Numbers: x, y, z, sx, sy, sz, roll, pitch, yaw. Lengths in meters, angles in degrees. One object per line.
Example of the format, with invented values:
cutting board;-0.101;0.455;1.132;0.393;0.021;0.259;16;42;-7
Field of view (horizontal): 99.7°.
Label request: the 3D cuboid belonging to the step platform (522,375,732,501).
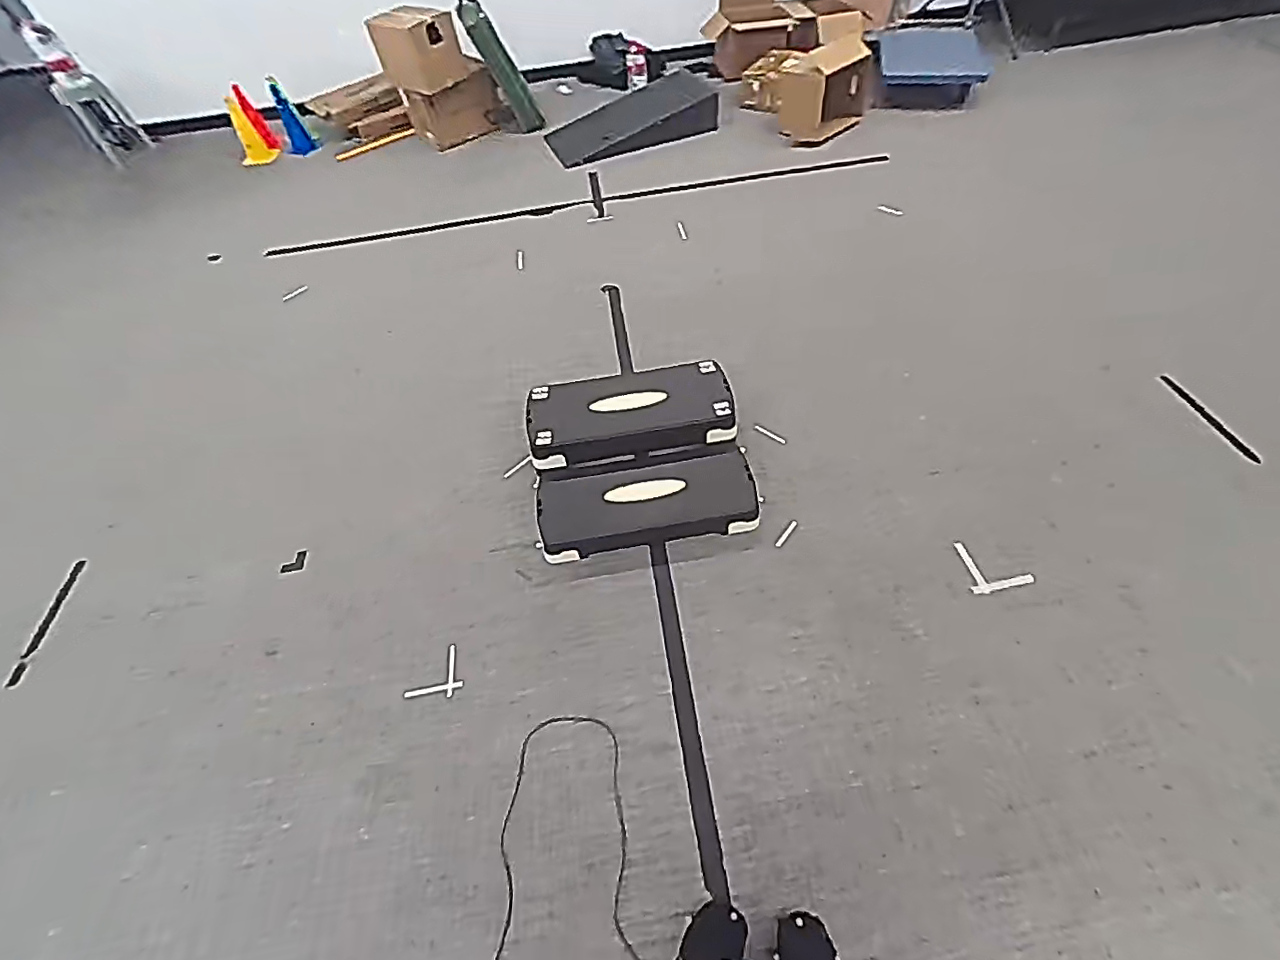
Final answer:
step platform;-0.043;-0.148;1.797;0.684;0.204;0.286;-10;53;-3
